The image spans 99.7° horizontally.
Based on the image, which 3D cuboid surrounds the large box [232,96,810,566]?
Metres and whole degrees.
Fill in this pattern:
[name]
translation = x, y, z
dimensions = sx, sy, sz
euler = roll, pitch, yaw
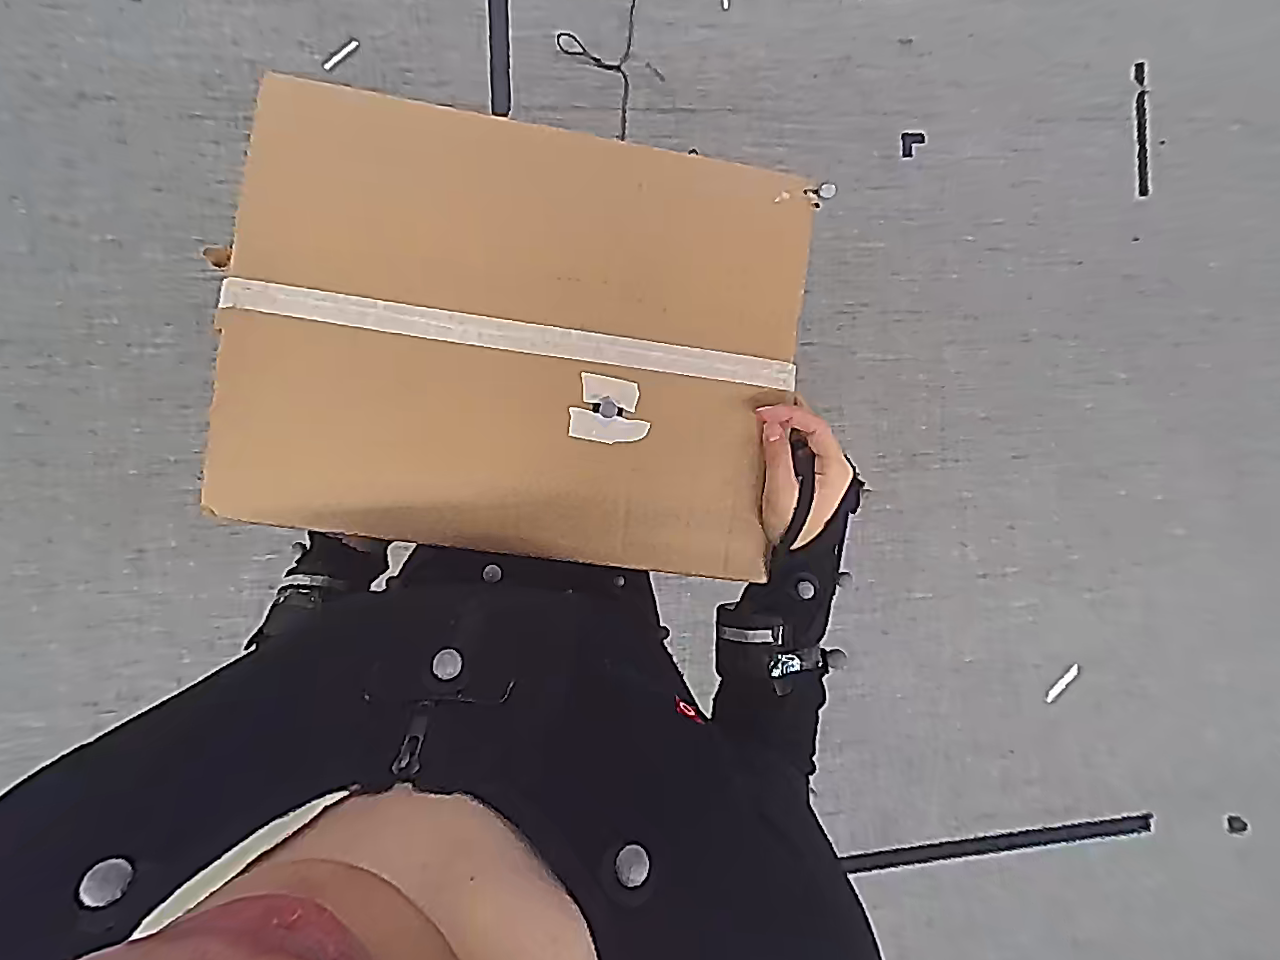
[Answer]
[large box]
translation = -0.094, -0.103, 0.551
dimensions = 0.408, 0.320, 0.320
euler = 7, 89, -6
